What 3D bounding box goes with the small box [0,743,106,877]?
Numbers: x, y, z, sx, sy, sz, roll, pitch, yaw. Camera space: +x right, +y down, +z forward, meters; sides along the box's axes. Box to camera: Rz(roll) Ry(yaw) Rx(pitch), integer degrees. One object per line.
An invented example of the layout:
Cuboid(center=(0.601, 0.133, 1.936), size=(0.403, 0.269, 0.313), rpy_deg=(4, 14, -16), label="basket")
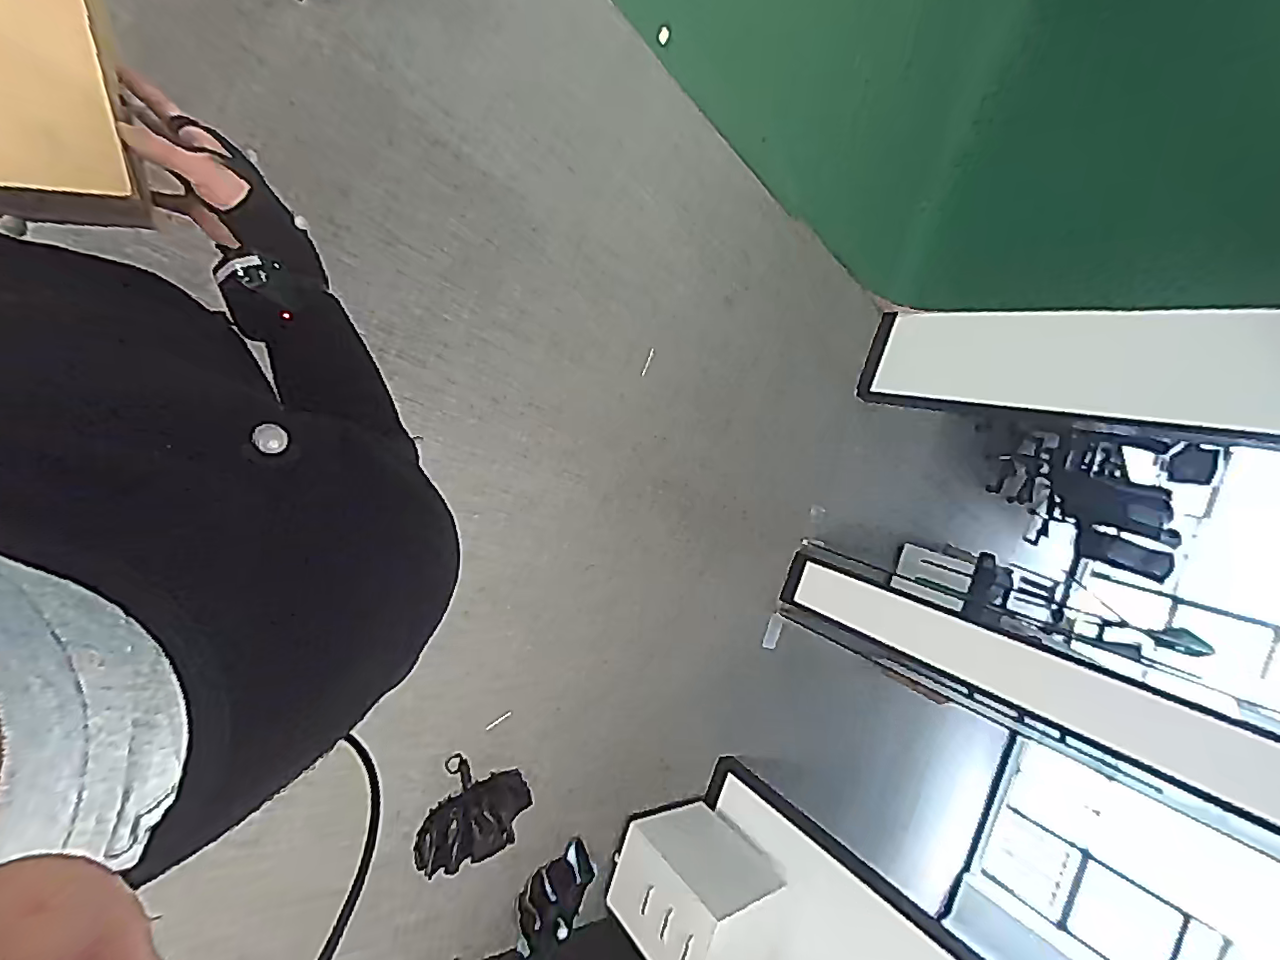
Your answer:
Cuboid(center=(-1.281, 0.701, 1.160), size=(0.168, 0.176, 0.179), rpy_deg=(16, 92, -45), label="small box")
